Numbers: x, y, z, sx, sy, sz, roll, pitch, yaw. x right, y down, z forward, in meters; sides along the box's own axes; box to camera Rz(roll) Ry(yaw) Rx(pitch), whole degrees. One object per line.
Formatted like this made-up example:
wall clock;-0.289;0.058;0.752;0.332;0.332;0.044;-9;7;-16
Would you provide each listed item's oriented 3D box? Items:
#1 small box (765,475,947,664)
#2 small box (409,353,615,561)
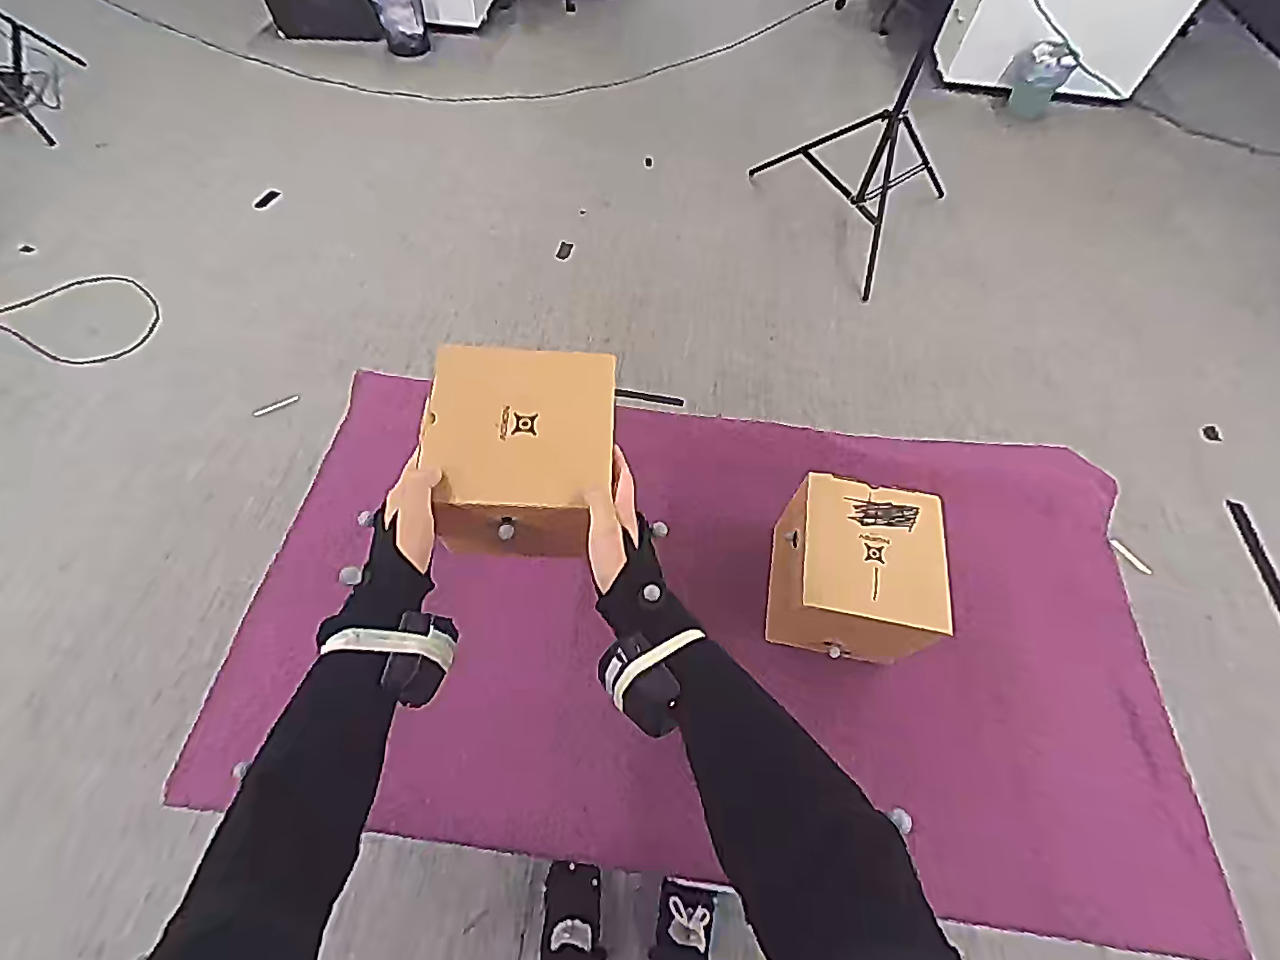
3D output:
small box;0.266;0.121;0.701;0.168;0.176;0.179;11;61;3
small box;-0.120;-0.015;0.580;0.179;0.176;0.168;2;66;-3
